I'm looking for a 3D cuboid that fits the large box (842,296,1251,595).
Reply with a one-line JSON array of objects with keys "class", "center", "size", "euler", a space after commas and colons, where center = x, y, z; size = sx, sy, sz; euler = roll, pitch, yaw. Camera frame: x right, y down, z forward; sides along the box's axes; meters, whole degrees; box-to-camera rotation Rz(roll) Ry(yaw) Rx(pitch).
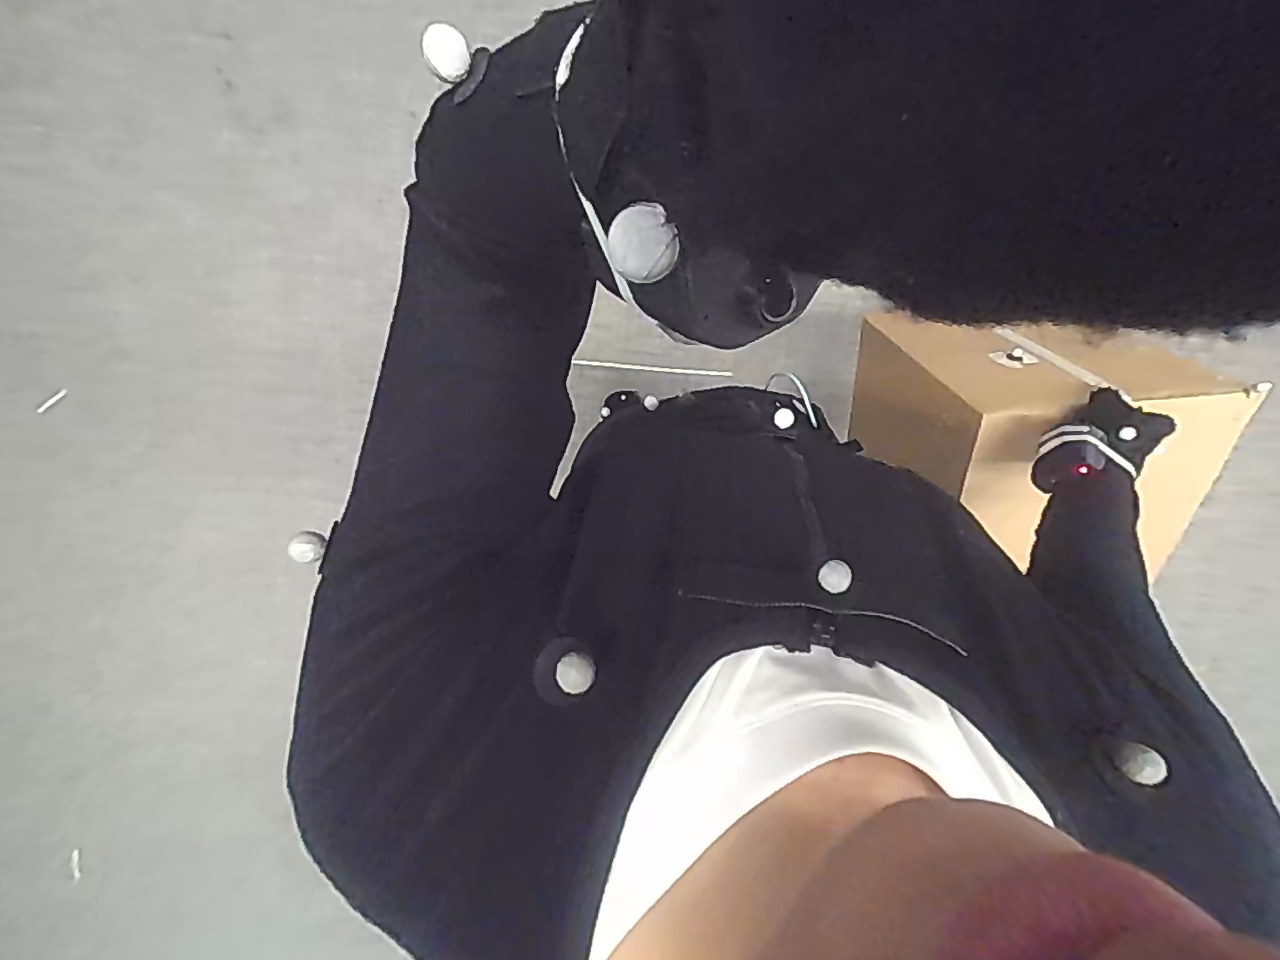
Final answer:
[{"class": "large box", "center": [0.559, -0.075, 0.870], "size": [0.320, 0.408, 0.320], "euler": [-6, 124, 2]}]
